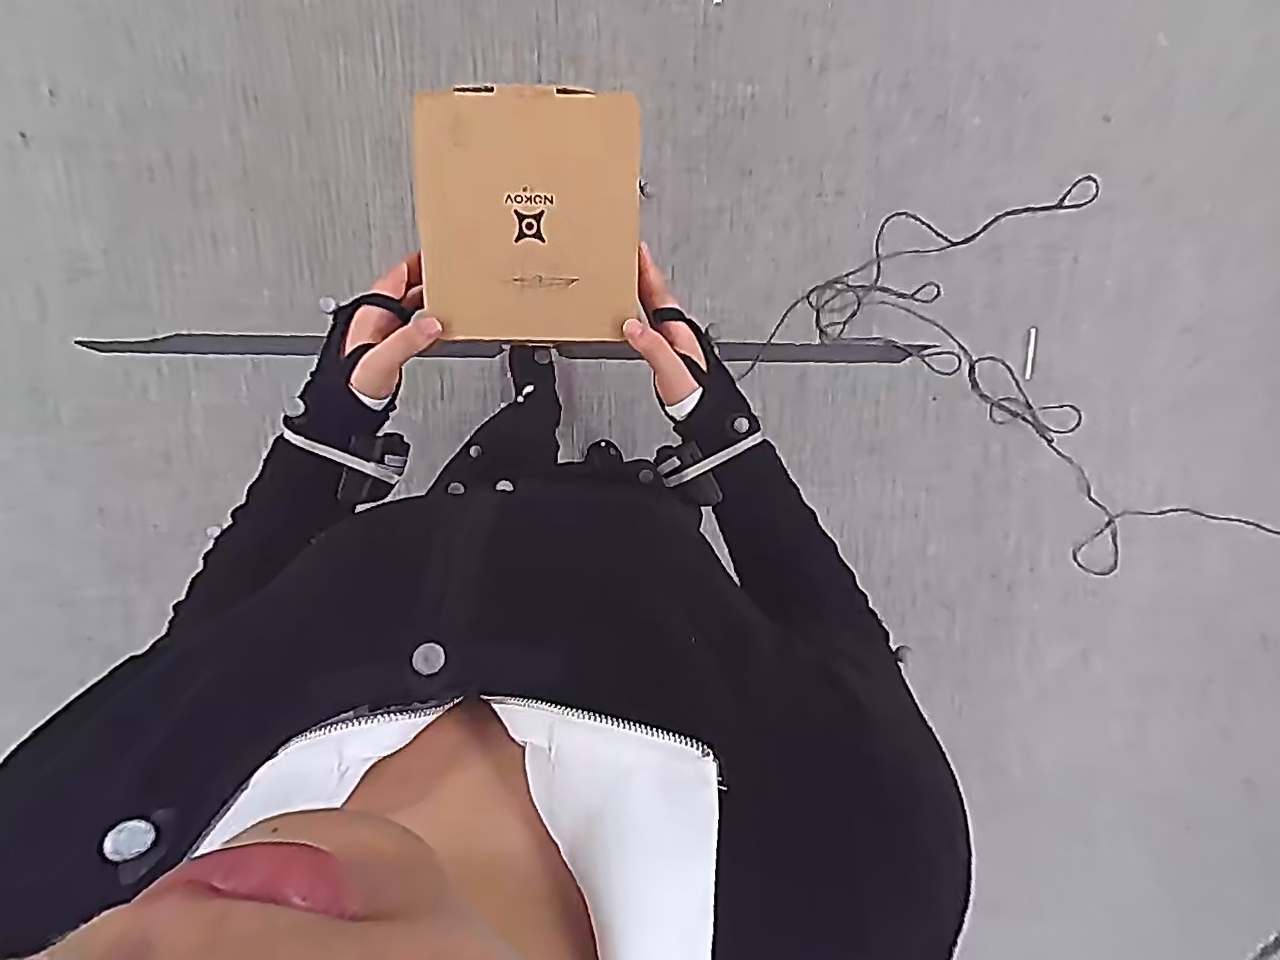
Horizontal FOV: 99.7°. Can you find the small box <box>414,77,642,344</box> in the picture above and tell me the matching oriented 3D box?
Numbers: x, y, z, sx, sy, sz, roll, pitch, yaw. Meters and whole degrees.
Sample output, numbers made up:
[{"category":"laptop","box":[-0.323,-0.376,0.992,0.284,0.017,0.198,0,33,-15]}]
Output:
[{"category":"small box","box":[-0.085,-0.217,0.482,0.168,0.176,0.179,0,102,-2]}]
